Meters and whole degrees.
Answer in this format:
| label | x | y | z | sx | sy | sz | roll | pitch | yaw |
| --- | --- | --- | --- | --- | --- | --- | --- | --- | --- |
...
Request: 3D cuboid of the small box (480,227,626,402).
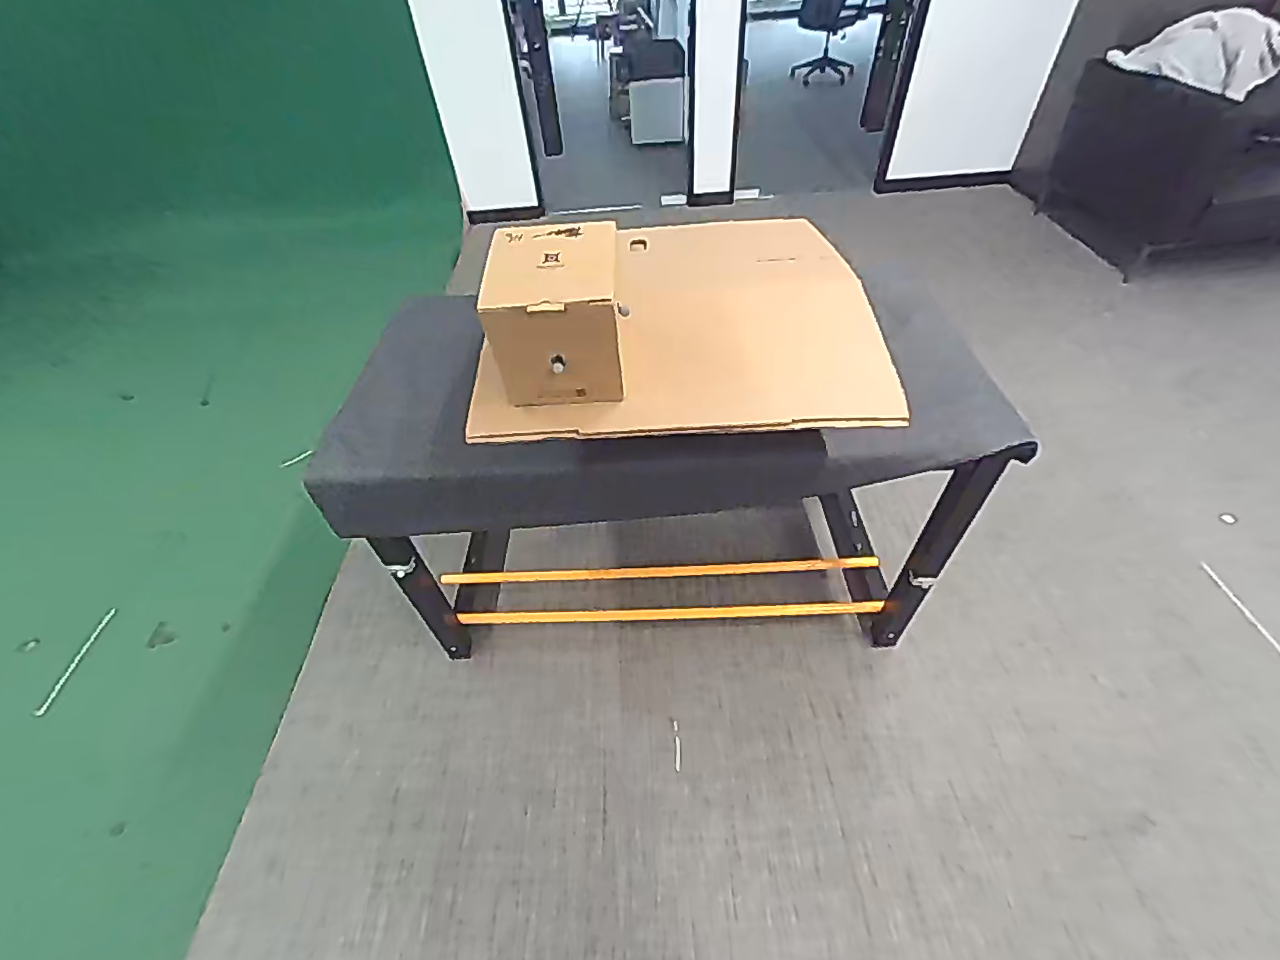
| label | x | y | z | sx | sy | sz | roll | pitch | yaw |
| --- | --- | --- | --- | --- | --- | --- | --- | --- | --- |
| small box | -0.107 | -0.221 | 0.752 | 0.168 | 0.176 | 0.179 | -3 | 55 | 2 |
